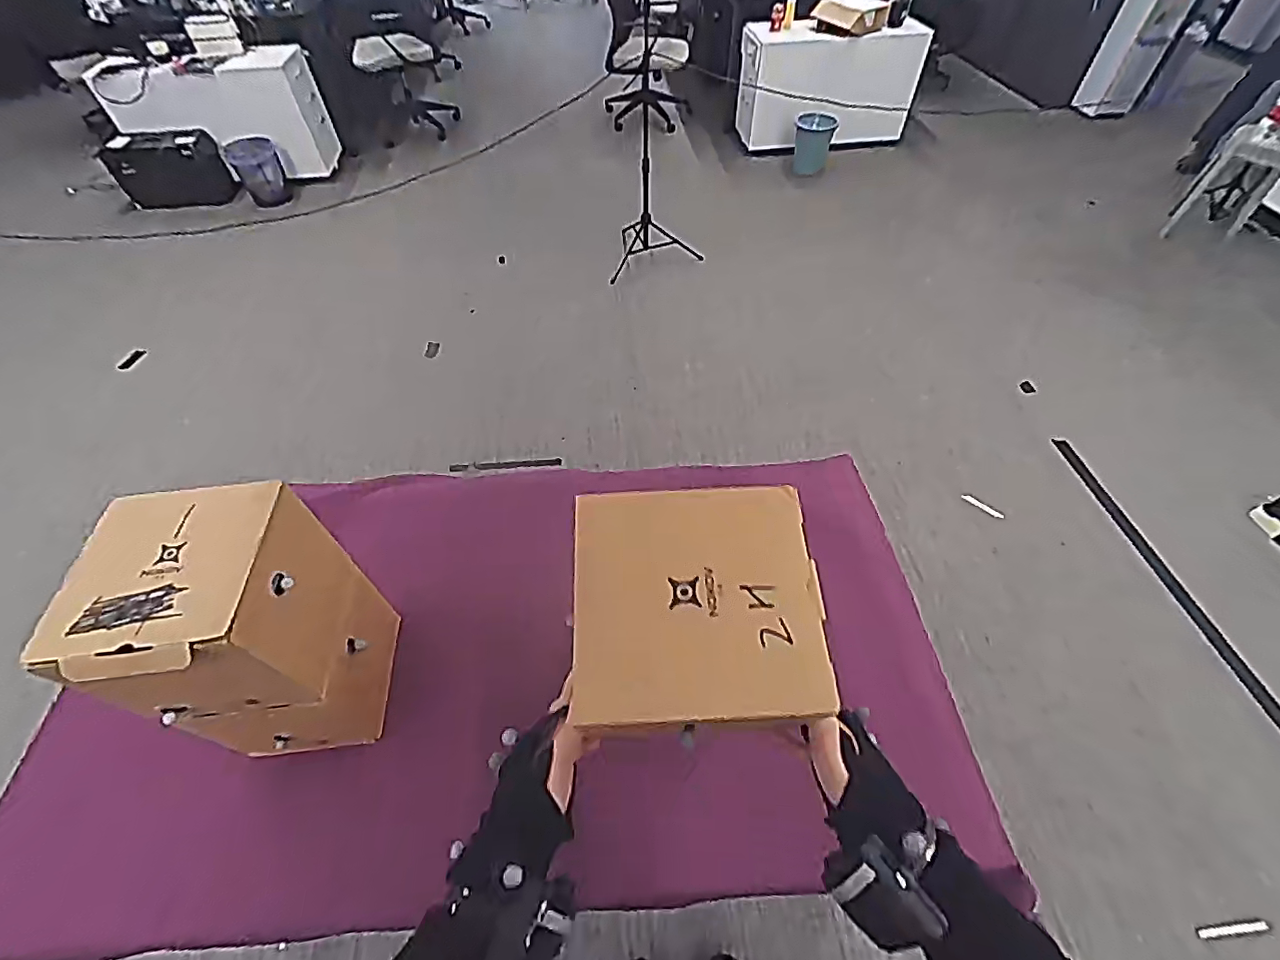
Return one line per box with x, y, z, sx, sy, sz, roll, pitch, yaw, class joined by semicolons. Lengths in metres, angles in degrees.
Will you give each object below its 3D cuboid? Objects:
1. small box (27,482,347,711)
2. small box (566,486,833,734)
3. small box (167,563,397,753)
-0.432;0.127;0.561;0.168;0.176;0.179;-6;52;-5;small box
0.038;0.117;0.455;0.179;0.176;0.168;-2;62;-1;small box
-0.429;0.228;0.690;0.168;0.176;0.179;-5;53;-4;small box
